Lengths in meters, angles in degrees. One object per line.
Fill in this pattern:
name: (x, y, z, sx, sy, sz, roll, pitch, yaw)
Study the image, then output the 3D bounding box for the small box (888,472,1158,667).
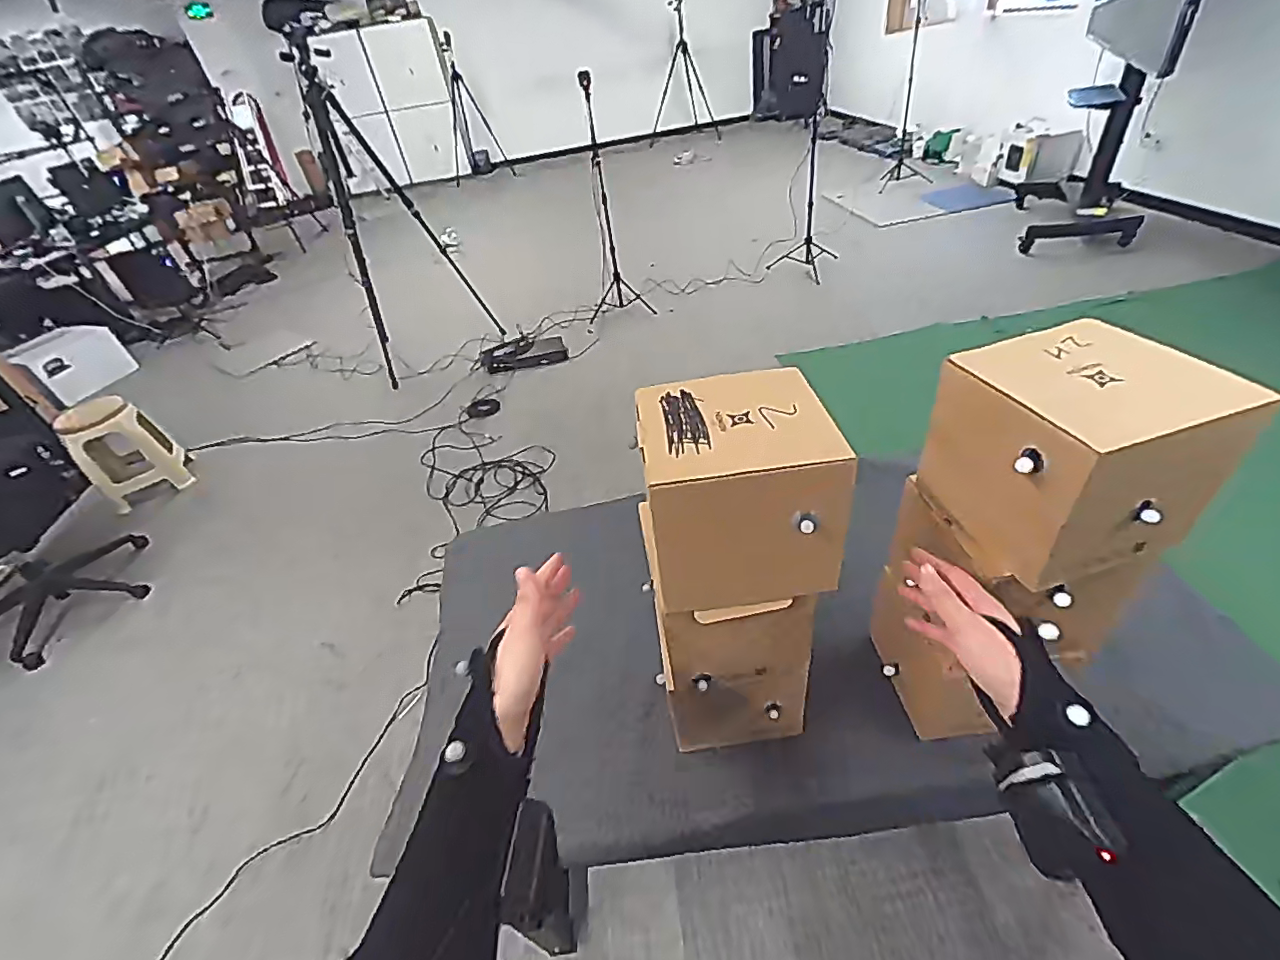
small box: (0.416, 0.091, 0.629, 0.179, 0.176, 0.168, -11, 39, 1)

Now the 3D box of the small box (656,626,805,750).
small box: (0.120, 0.254, 0.763, 0.179, 0.176, 0.168, -11, 38, 2)

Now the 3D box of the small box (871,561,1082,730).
small box: (0.432, 0.217, 0.731, 0.168, 0.176, 0.179, -10, 40, 2)

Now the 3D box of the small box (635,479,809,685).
small box: (0.095, 0.128, 0.661, 0.168, 0.176, 0.179, -11, 38, -1)

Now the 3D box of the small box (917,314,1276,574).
small box: (0.400, -0.031, 0.518, 0.168, 0.176, 0.179, -16, 39, -6)
